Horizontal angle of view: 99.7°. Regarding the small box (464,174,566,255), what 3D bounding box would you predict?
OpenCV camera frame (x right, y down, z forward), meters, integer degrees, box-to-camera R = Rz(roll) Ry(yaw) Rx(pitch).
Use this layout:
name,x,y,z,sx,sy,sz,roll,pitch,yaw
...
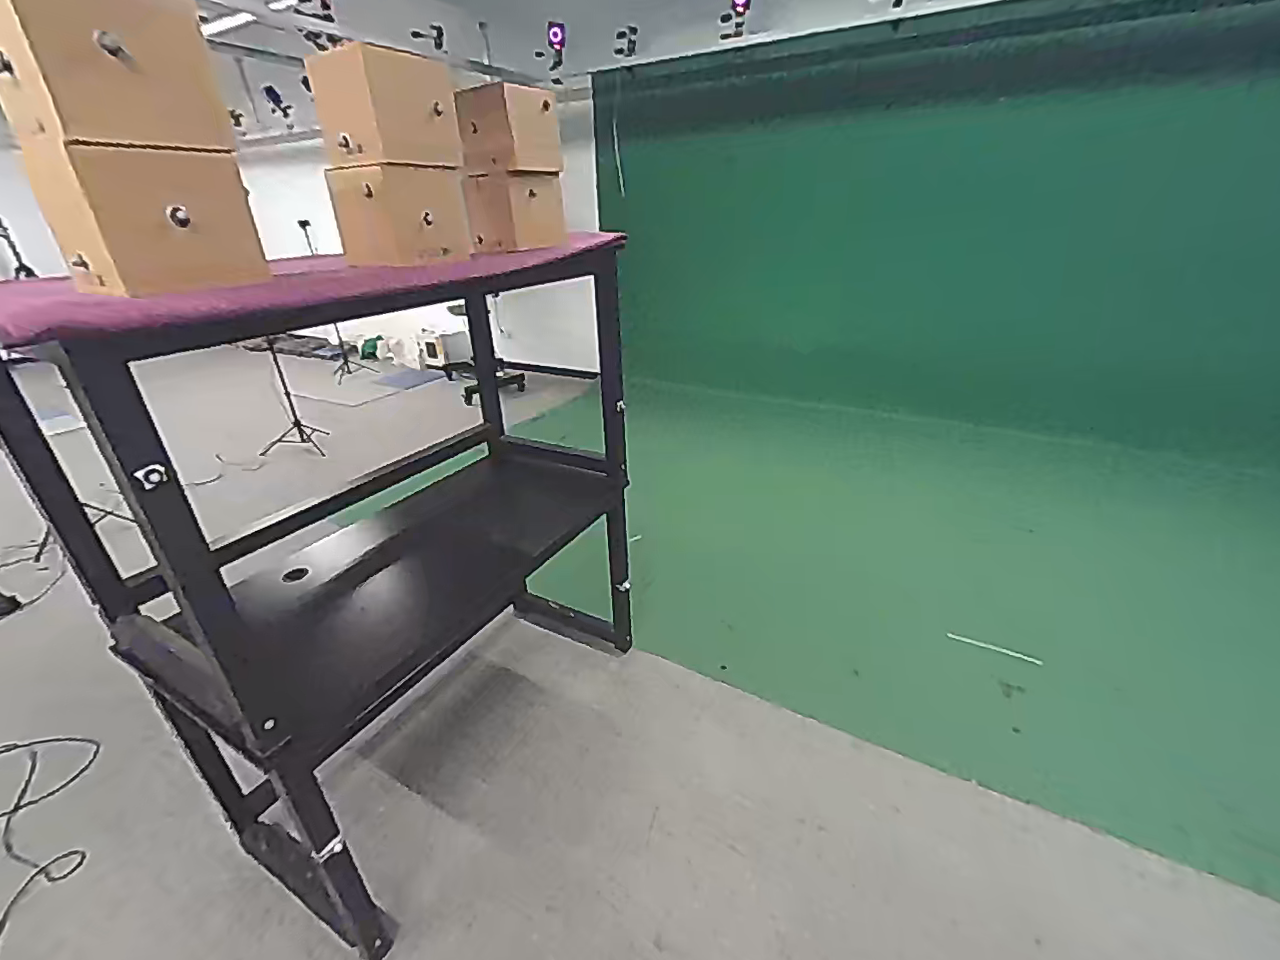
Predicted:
name,x,y,z,sx,sy,sz,roll,pitch,yaw
small box,-0.301,-0.653,1.339,0.168,0.176,0.179,15,32,33

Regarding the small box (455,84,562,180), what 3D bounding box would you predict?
name,x,y,z,sx,sy,sz,roll,pitch,yaw
small box,-0.299,-0.795,1.258,0.168,0.176,0.179,13,30,29

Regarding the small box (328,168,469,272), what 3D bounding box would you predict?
name,x,y,z,sx,sy,sz,roll,pitch,yaw
small box,-0.458,-0.502,1.048,0.179,0.176,0.168,14,30,29

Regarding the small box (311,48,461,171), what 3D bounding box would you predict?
name,x,y,z,sx,sy,sz,roll,pitch,yaw
small box,-0.447,-0.649,0.979,0.168,0.176,0.179,14,31,30

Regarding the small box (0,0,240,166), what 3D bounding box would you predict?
name,x,y,z,sx,sy,sz,roll,pitch,yaw
small box,-0.640,-0.487,0.655,0.168,0.176,0.179,15,32,28
